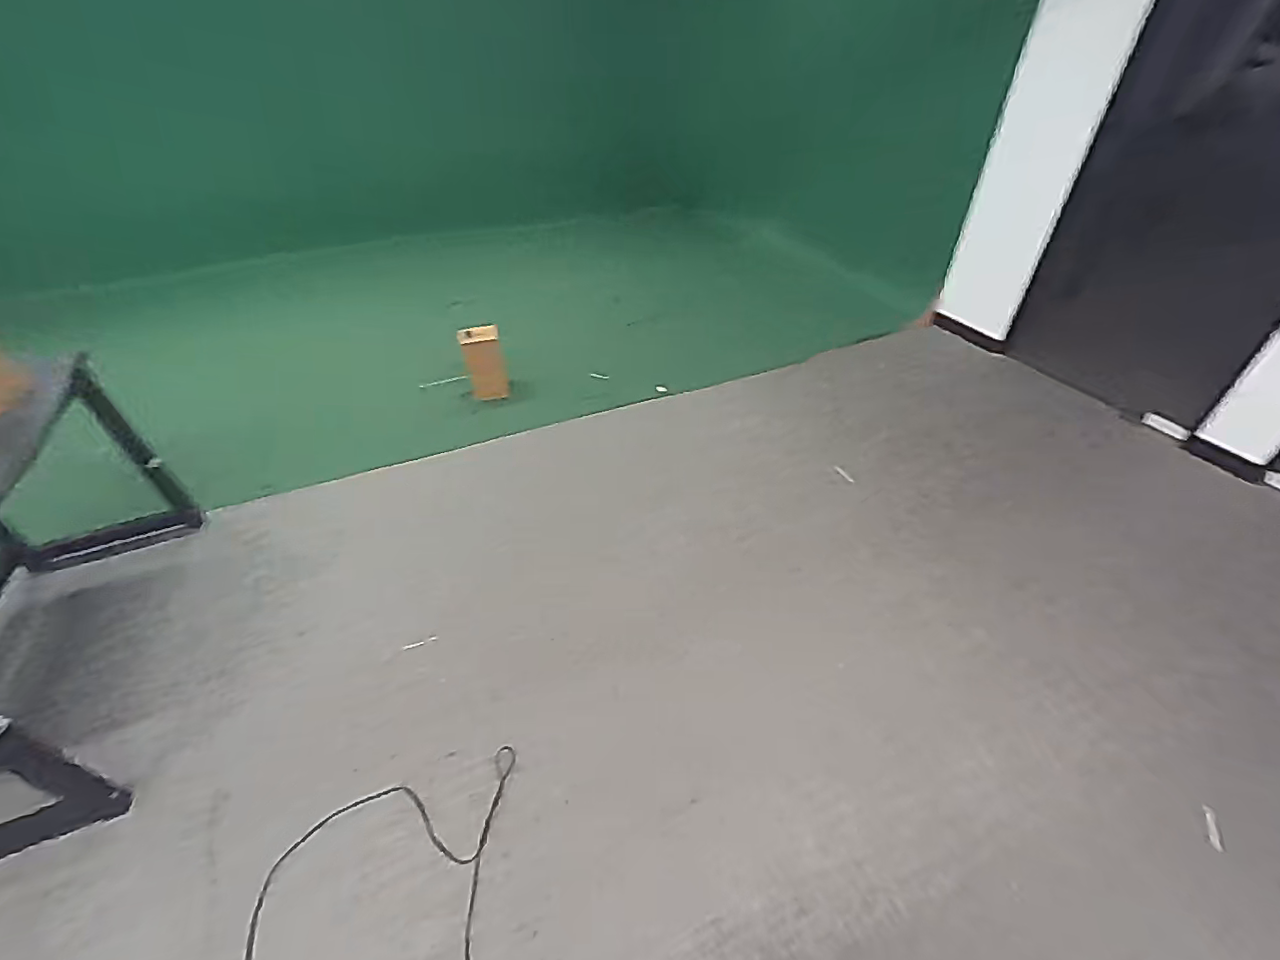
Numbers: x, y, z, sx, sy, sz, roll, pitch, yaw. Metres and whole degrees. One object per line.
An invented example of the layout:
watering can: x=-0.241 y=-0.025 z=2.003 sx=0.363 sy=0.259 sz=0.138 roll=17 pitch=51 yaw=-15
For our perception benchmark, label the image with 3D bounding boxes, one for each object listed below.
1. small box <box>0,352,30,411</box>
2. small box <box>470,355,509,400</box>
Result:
small box: x=-1.810 y=-0.269 z=1.437 sx=0.179 sy=0.176 sz=0.168 roll=-18 pitch=44 yaw=-14
small box: x=-0.783 y=-0.529 z=2.822 sx=0.168 sy=0.176 sz=0.179 roll=-10 pitch=42 yaw=-11
